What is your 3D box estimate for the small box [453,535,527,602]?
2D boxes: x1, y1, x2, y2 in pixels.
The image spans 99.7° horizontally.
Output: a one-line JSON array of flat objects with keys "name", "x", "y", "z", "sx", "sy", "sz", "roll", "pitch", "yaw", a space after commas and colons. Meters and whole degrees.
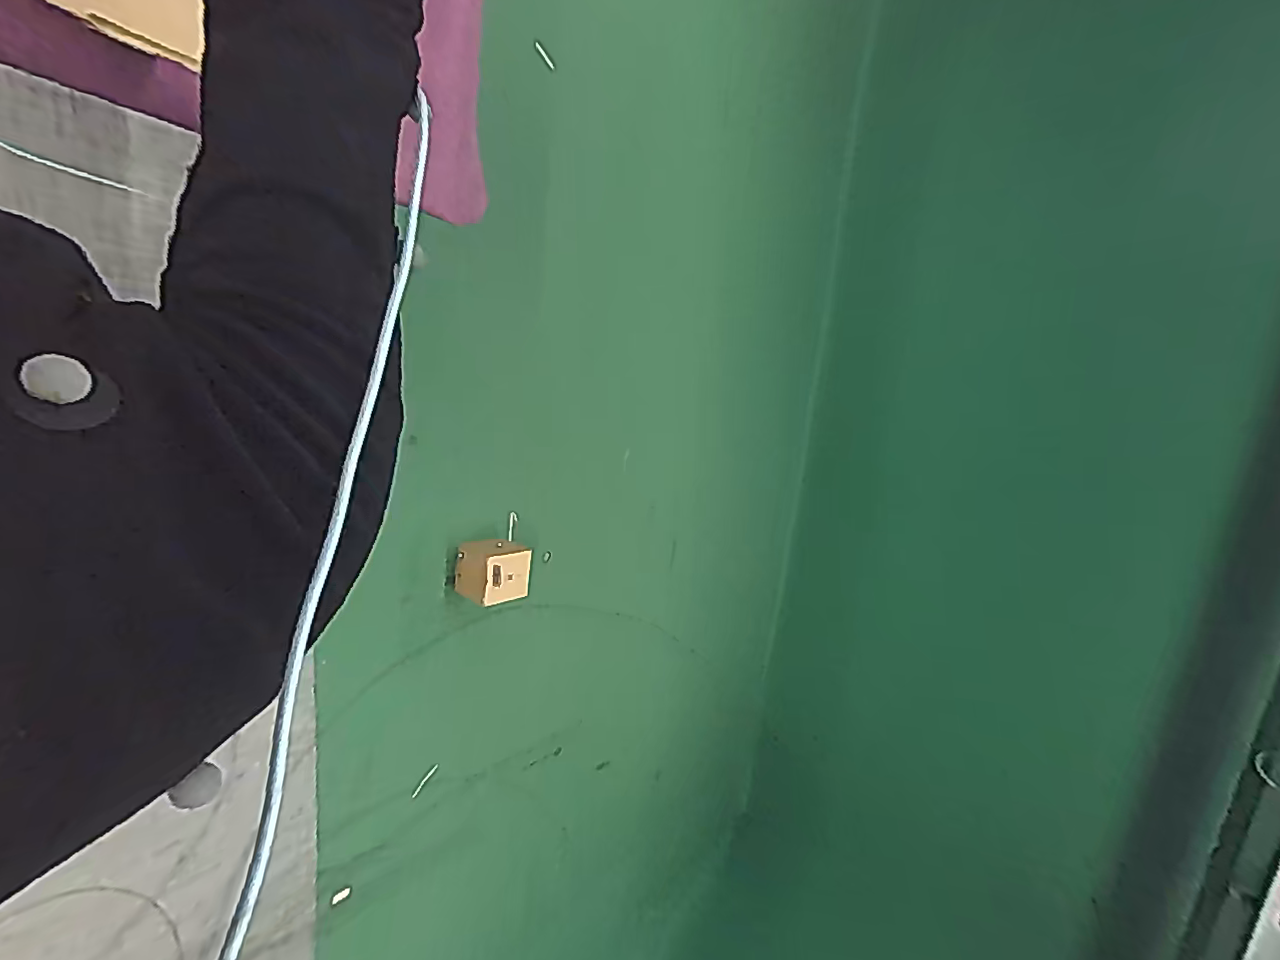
[{"name": "small box", "x": -0.503, "y": 0.290, "z": 1.804, "sx": 0.179, "sy": 0.176, "sz": 0.168, "roll": -3, "pitch": 104, "yaw": -51}]
